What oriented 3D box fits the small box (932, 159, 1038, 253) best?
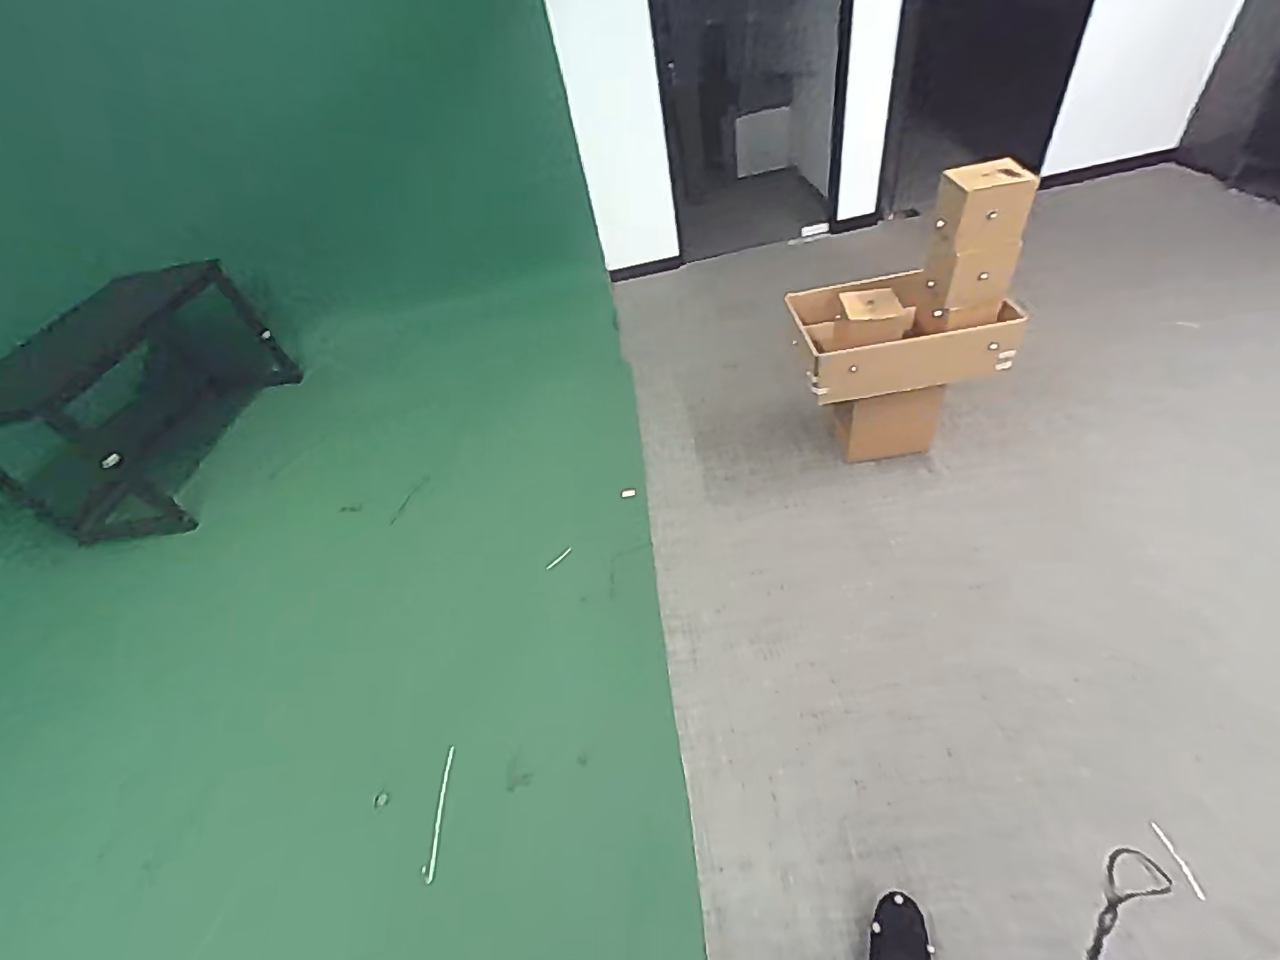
[{"bbox_3d":[0.936,-0.749,1.485,0.179,0.176,0.168,-8,45,8],"label":"small box"}]
